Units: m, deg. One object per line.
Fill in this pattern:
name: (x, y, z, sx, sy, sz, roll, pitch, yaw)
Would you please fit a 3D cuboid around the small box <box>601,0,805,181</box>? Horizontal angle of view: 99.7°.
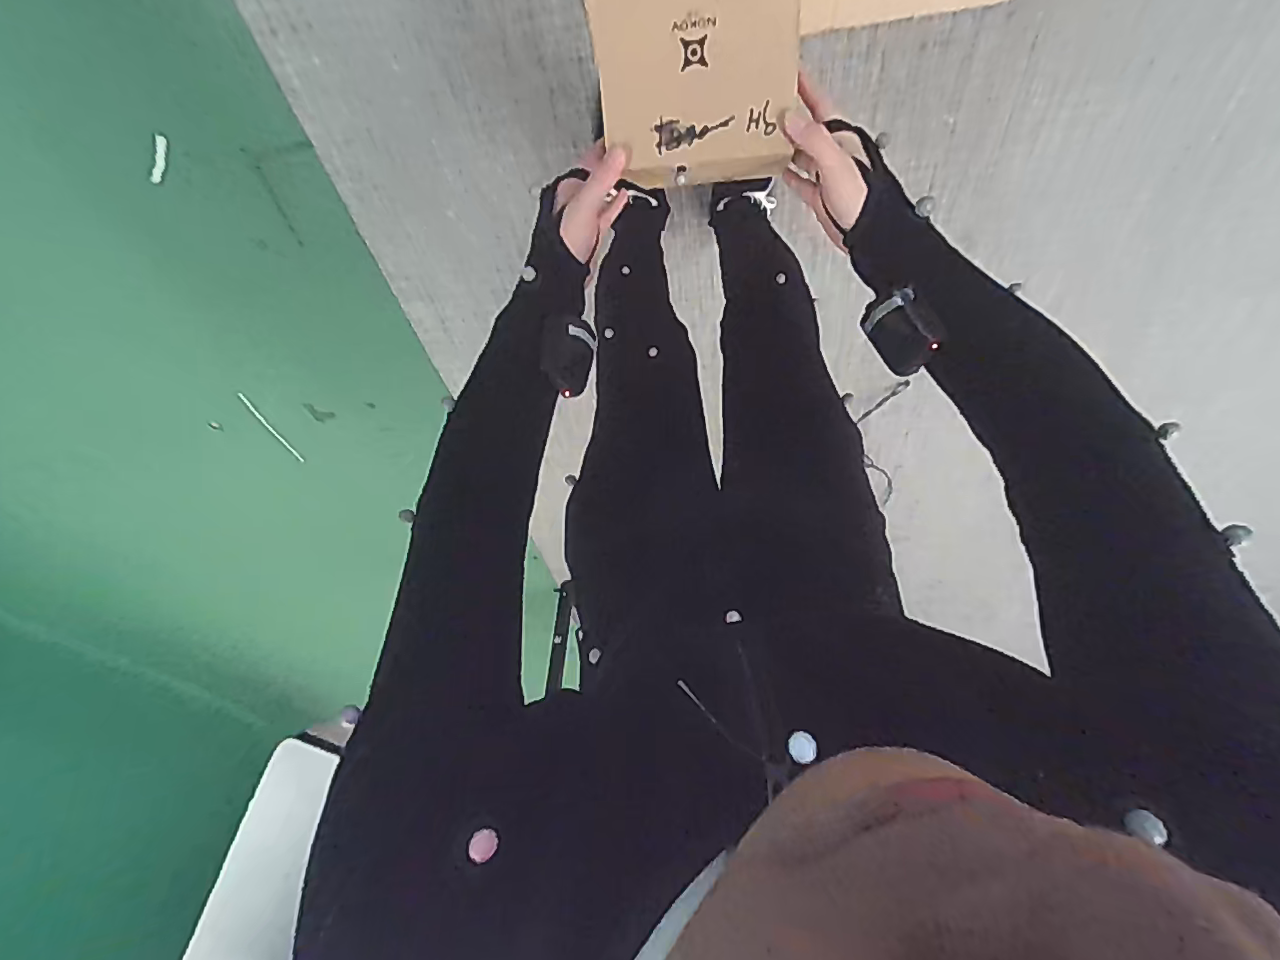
small box: (0.063, -0.396, 0.510, 0.168, 0.176, 0.179, 2, 113, 12)
